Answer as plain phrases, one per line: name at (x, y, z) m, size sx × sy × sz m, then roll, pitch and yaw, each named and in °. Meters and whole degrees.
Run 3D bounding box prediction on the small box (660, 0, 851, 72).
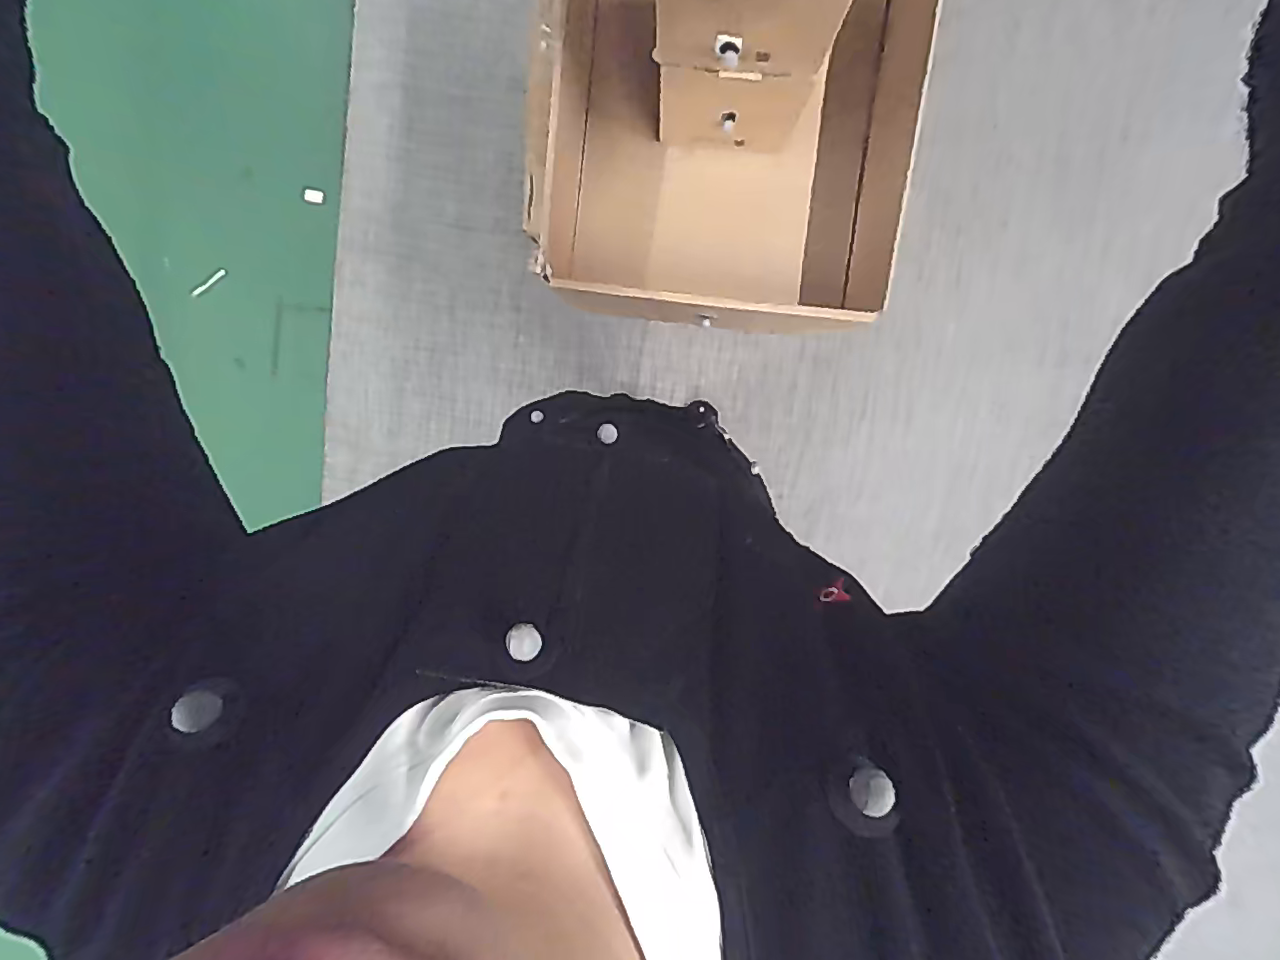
small box at (0.105, -0.495, 0.458) m, size 0.168 × 0.176 × 0.179 m, roll 5°, pitch 99°, yaw 2°
